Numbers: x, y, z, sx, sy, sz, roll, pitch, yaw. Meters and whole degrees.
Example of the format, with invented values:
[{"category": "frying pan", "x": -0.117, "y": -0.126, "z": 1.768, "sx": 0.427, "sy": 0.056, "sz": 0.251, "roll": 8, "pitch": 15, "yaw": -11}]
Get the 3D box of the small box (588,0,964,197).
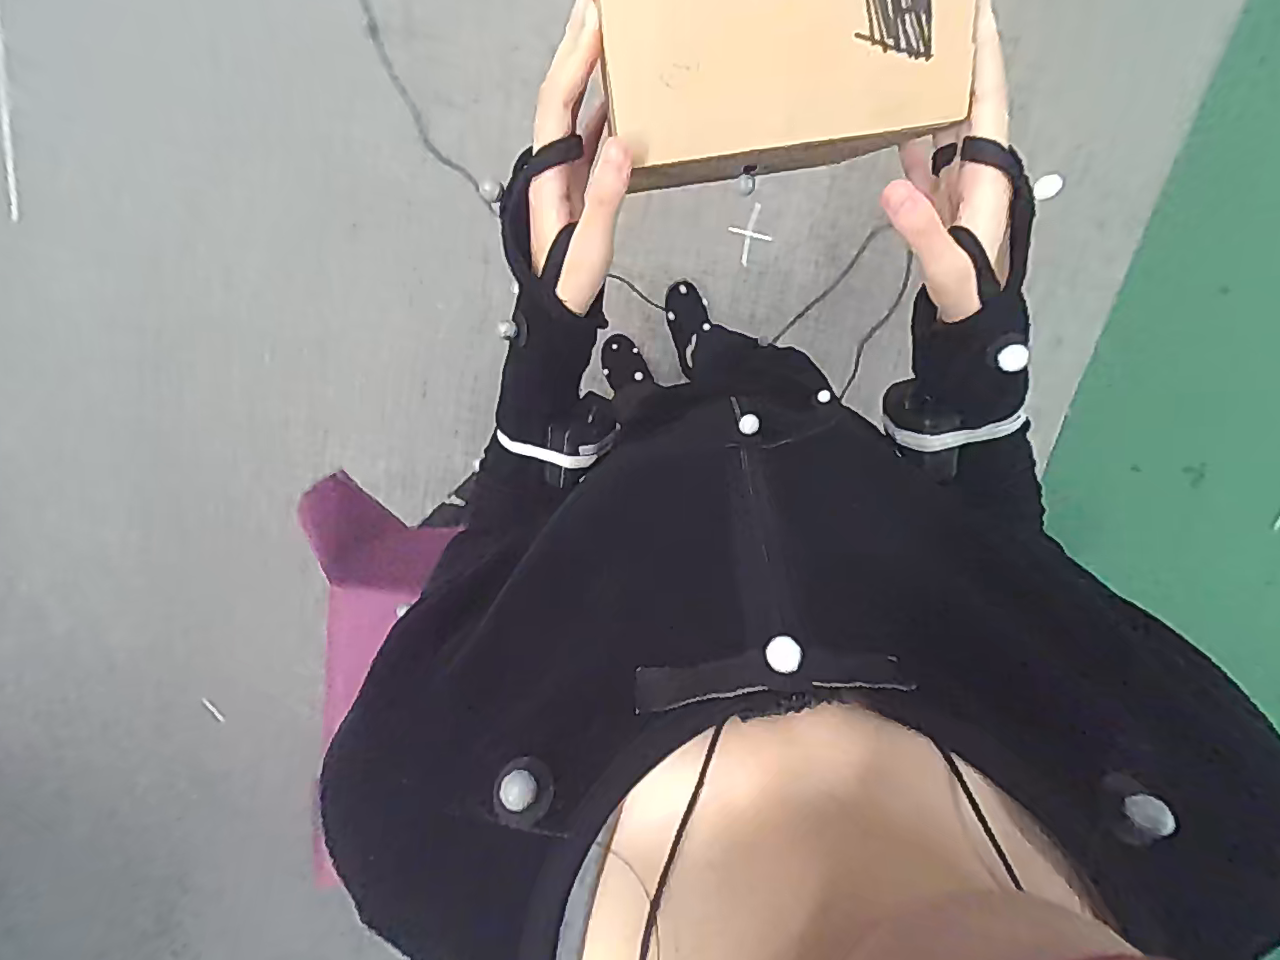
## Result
[{"category": "small box", "x": 0.060, "y": -0.270, "z": 0.316, "sx": 0.179, "sy": 0.176, "sz": 0.168, "roll": -7, "pitch": 114, "yaw": 0}]
